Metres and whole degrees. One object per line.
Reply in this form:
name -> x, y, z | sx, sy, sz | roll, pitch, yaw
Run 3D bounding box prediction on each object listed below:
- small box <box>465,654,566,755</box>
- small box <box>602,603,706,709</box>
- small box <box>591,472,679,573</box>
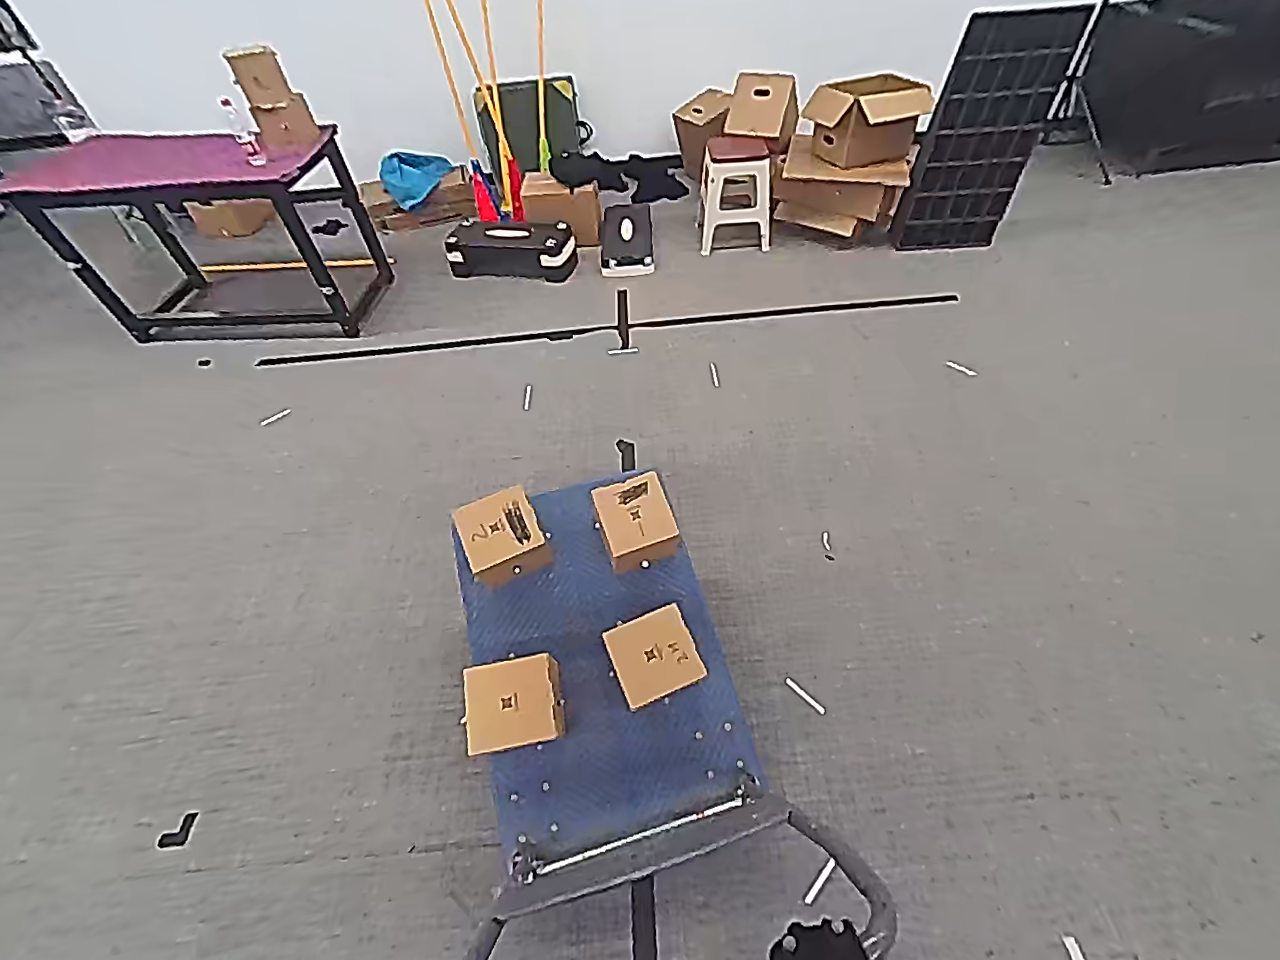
small box -> -0.264, 0.485, 1.164 | 0.179, 0.176, 0.168 | -10, 66, -7
small box -> 0.029, 0.398, 1.207 | 0.179, 0.176, 0.168 | -21, 68, -10
small box -> -0.015, 0.109, 1.339 | 0.168, 0.176, 0.179 | -19, 68, -9
